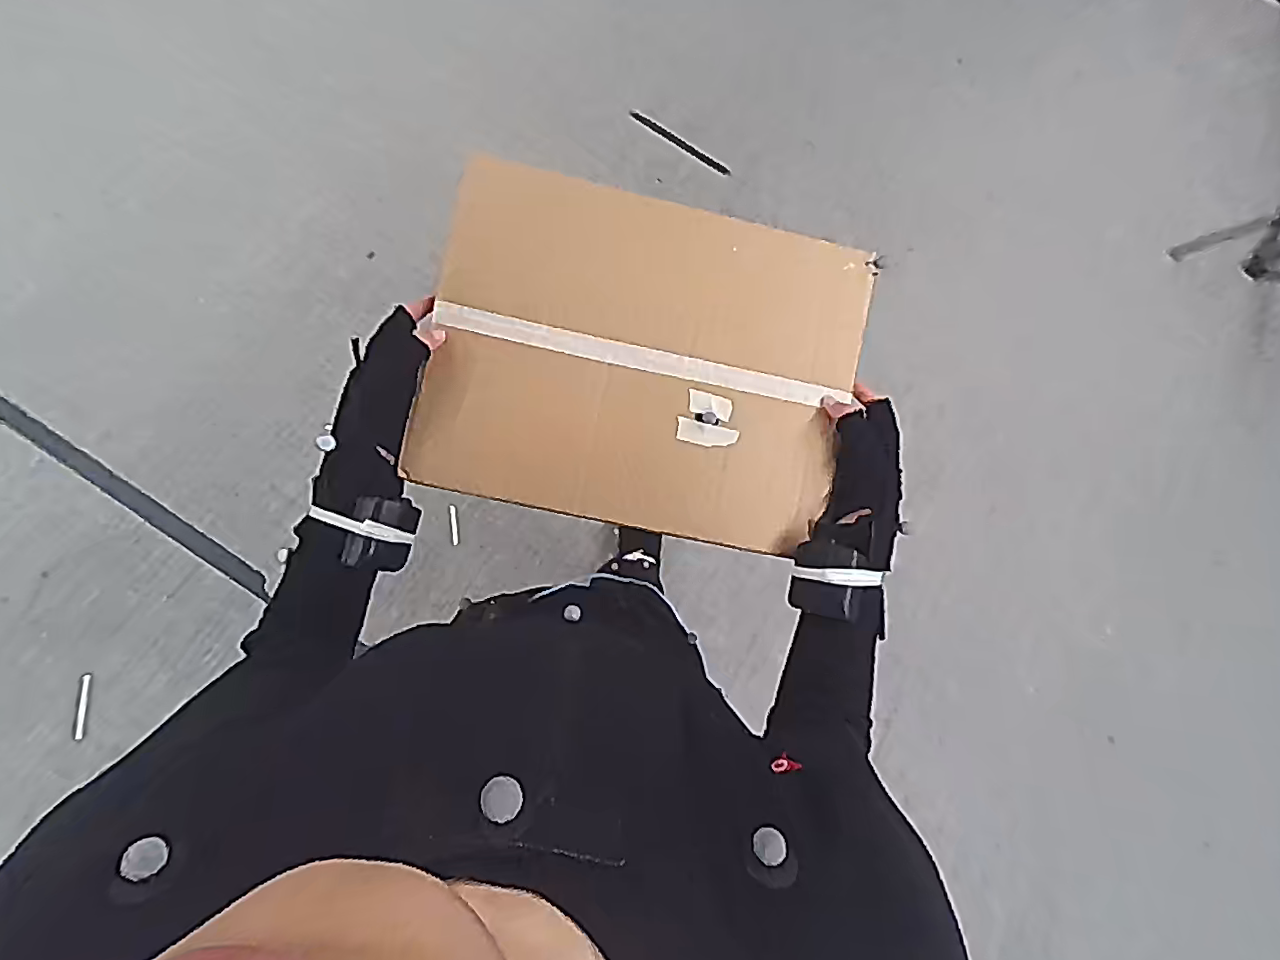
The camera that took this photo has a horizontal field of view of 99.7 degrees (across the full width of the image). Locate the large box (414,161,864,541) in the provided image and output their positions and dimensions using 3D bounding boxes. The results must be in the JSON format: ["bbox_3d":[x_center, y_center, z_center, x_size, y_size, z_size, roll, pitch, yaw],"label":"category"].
[{"bbox_3d":[-0.006,-0.116,0.674,0.408,0.320,0.320,12,87,-5],"label":"large box"}]
